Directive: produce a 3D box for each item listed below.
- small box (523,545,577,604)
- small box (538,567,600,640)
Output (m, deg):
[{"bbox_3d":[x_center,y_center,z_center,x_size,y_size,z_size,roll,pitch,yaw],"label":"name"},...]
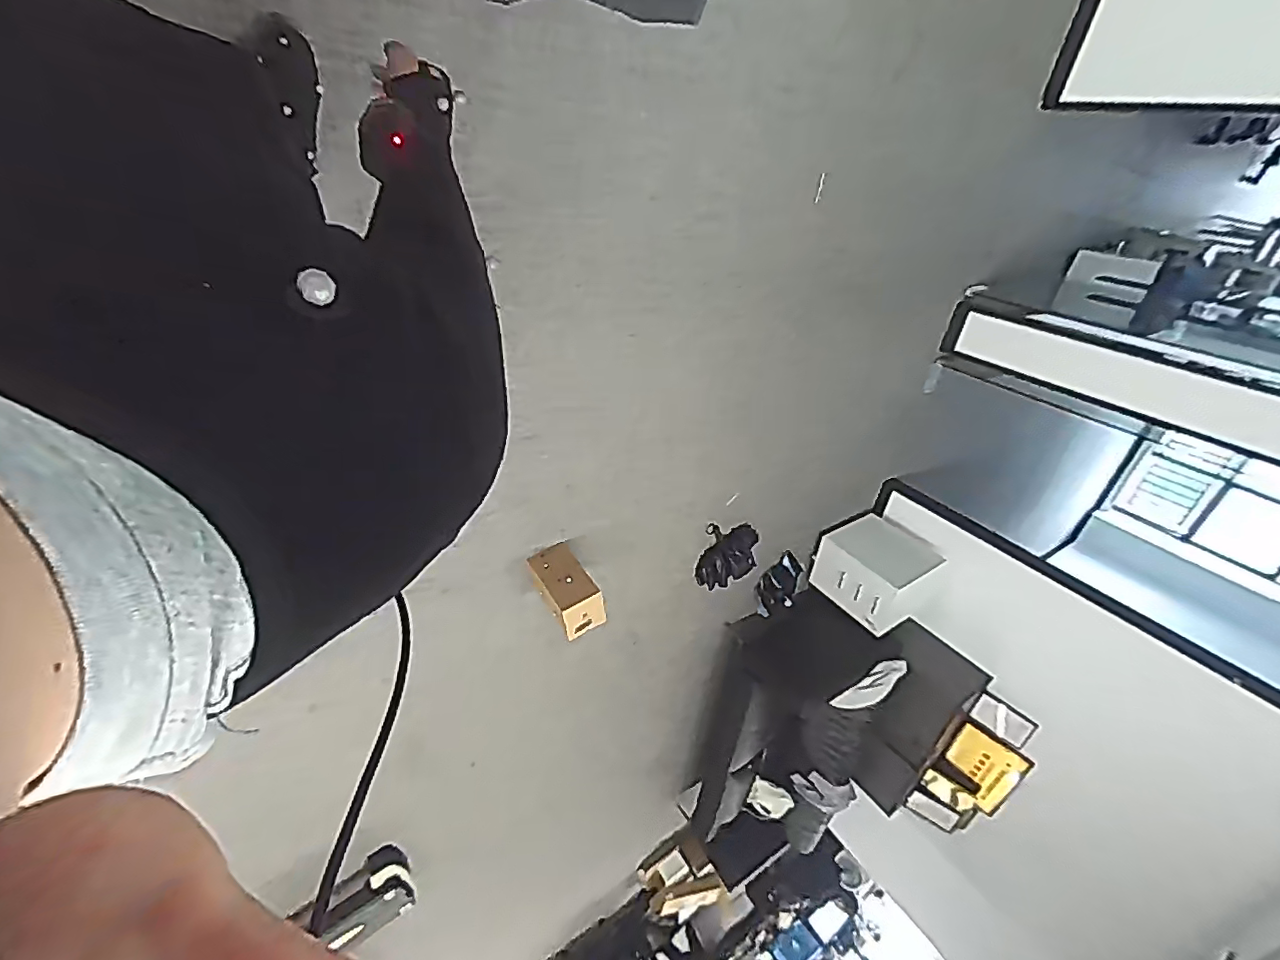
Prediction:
[{"bbox_3d":[-0.358,0.386,2.180,0.168,0.176,0.179,-25,134,-23],"label":"small box"},{"bbox_3d":[-0.271,0.466,2.065,0.168,0.176,0.179,-24,131,-24],"label":"small box"}]
